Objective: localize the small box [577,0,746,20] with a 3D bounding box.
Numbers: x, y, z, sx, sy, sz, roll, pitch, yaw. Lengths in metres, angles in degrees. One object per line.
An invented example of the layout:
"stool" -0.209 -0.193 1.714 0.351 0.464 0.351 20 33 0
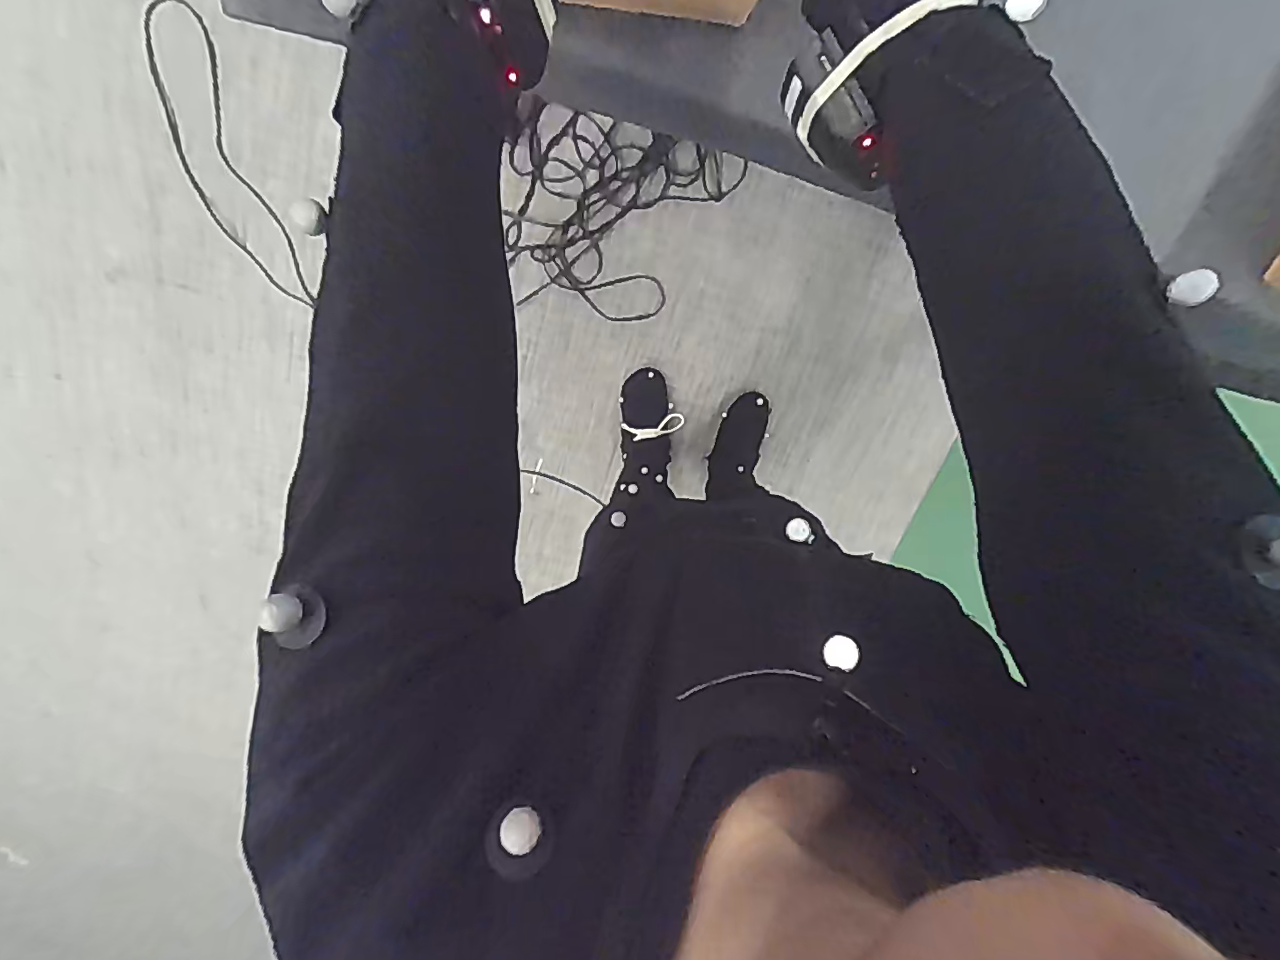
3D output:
"small box" 0.014 -0.431 0.340 0.179 0.176 0.168 4 110 -5
